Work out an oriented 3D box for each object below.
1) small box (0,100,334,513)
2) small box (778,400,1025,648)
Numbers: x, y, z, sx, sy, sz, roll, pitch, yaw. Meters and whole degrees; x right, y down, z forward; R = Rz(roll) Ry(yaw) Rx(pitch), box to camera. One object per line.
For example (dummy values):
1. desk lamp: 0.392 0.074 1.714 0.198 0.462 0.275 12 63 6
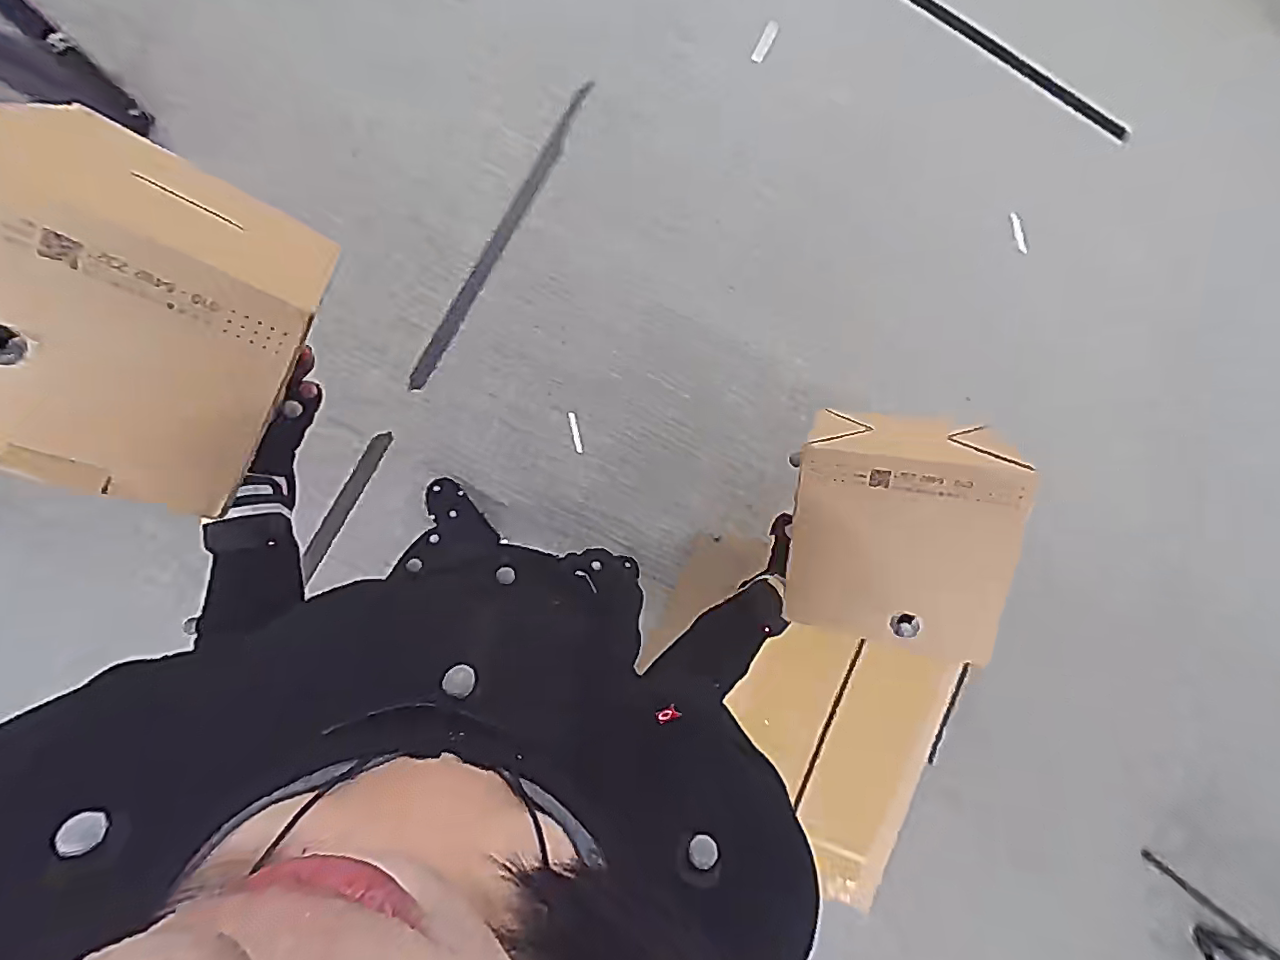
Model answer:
1. small box: -0.326 -0.113 0.354 0.168 0.179 0.176 24 113 -33
2. small box: 0.230 0.021 0.504 0.168 0.179 0.176 7 111 20
